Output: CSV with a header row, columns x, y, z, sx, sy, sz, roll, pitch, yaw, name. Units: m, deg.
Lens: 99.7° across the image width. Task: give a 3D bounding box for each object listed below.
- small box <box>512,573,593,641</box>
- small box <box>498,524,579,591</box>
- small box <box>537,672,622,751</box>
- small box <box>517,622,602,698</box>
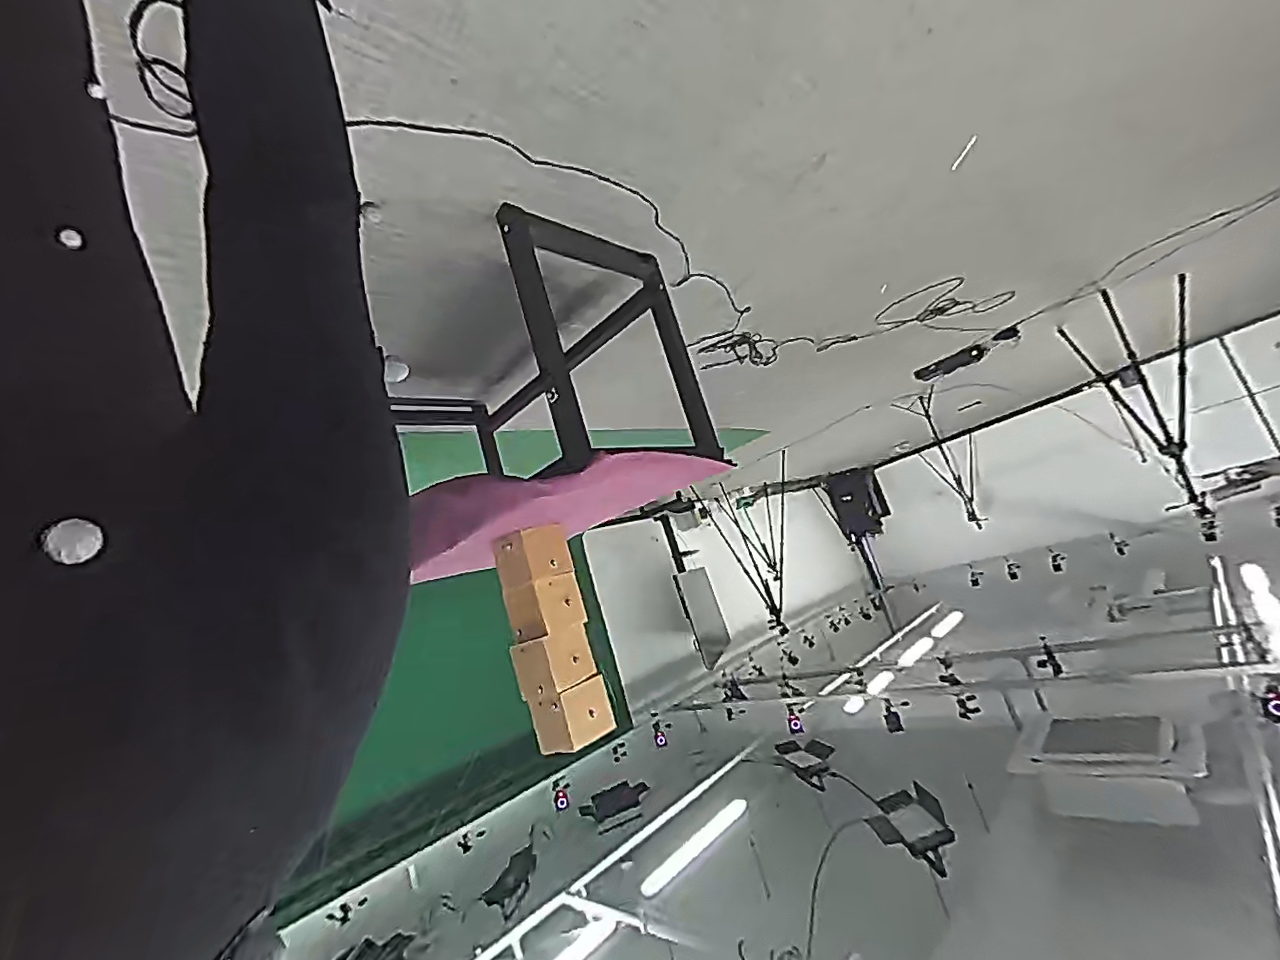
x,y,z,sx,sy,sz,roll,pitch,yaw,name
-0.285,0.398,1.725,0.179,0.176,0.168,-26,166,39,small box
-0.329,0.245,1.749,0.168,0.176,0.179,-26,166,37,small box
-0.191,0.706,1.657,0.168,0.176,0.179,-26,168,40,small box
-0.252,0.553,1.678,0.168,0.176,0.179,-26,168,36,small box
